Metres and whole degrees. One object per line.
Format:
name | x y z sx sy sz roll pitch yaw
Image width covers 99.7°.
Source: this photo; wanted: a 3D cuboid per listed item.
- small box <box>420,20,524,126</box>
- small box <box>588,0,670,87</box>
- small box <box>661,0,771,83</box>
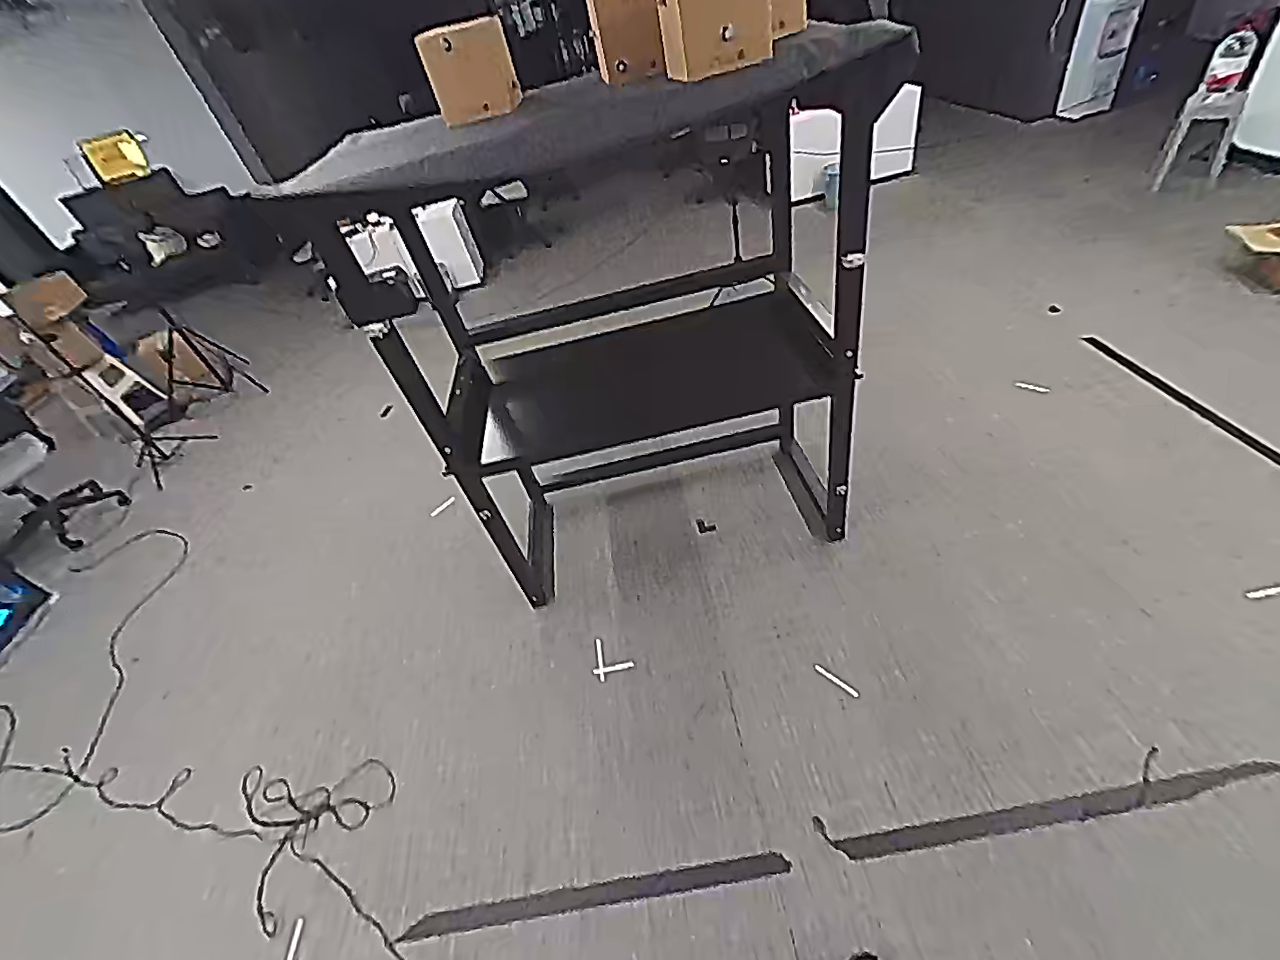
small box | -0.383 -0.952 1.269 0.168 0.176 0.179 -10 42 6
small box | -0.013 -1.016 1.229 0.168 0.176 0.179 -14 41 1
small box | 0.140 -0.874 1.026 0.168 0.176 0.179 -16 40 0
